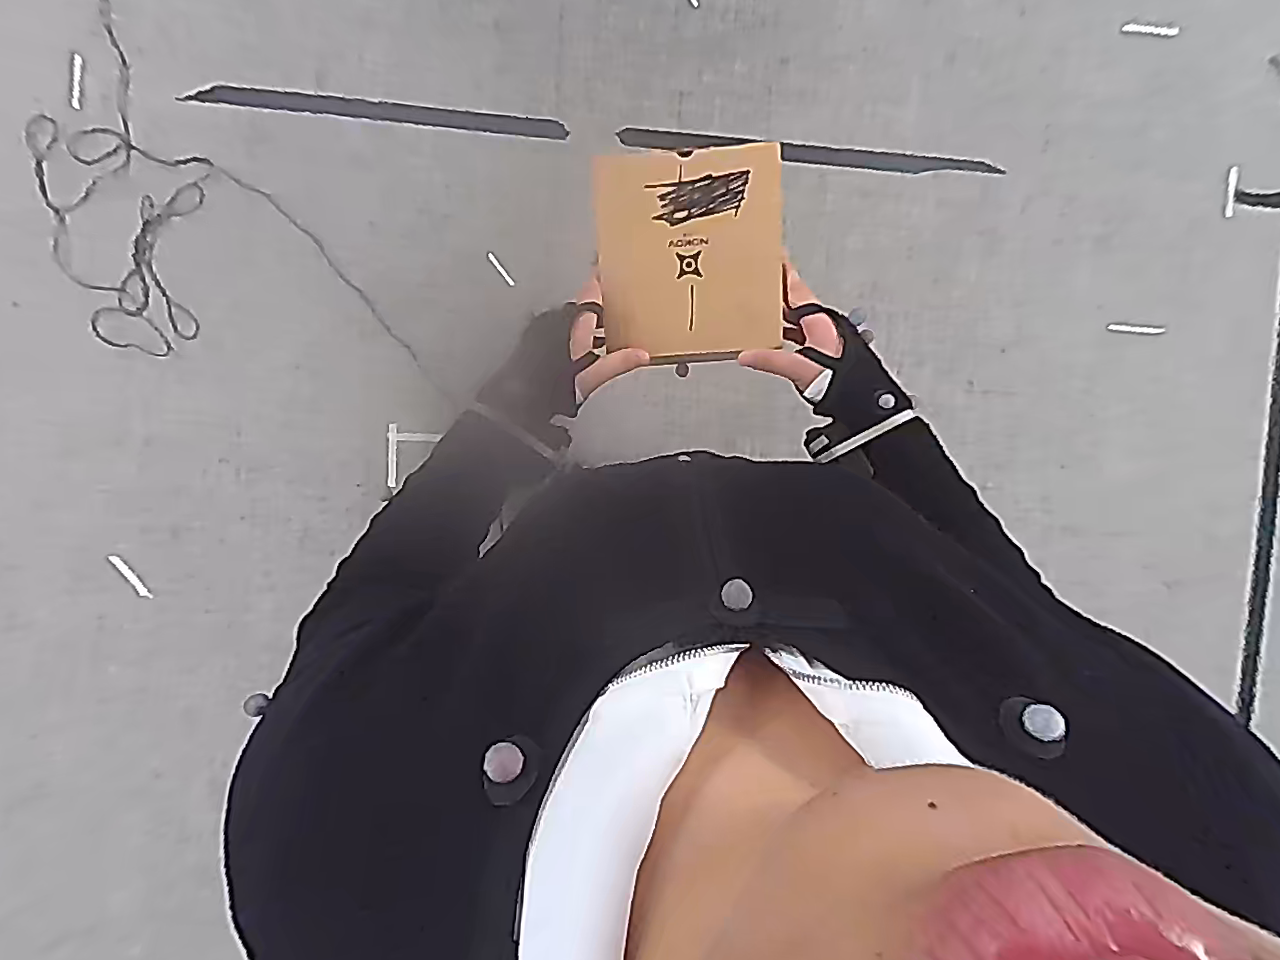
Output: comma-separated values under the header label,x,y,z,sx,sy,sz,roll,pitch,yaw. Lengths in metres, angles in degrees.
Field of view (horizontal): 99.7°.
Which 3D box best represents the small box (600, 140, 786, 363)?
label,x,y,z,sx,sy,sz,roll,pitch,yaw
small box,0.050,-0.220,0.566,0.168,0.176,0.179,-4,99,3
